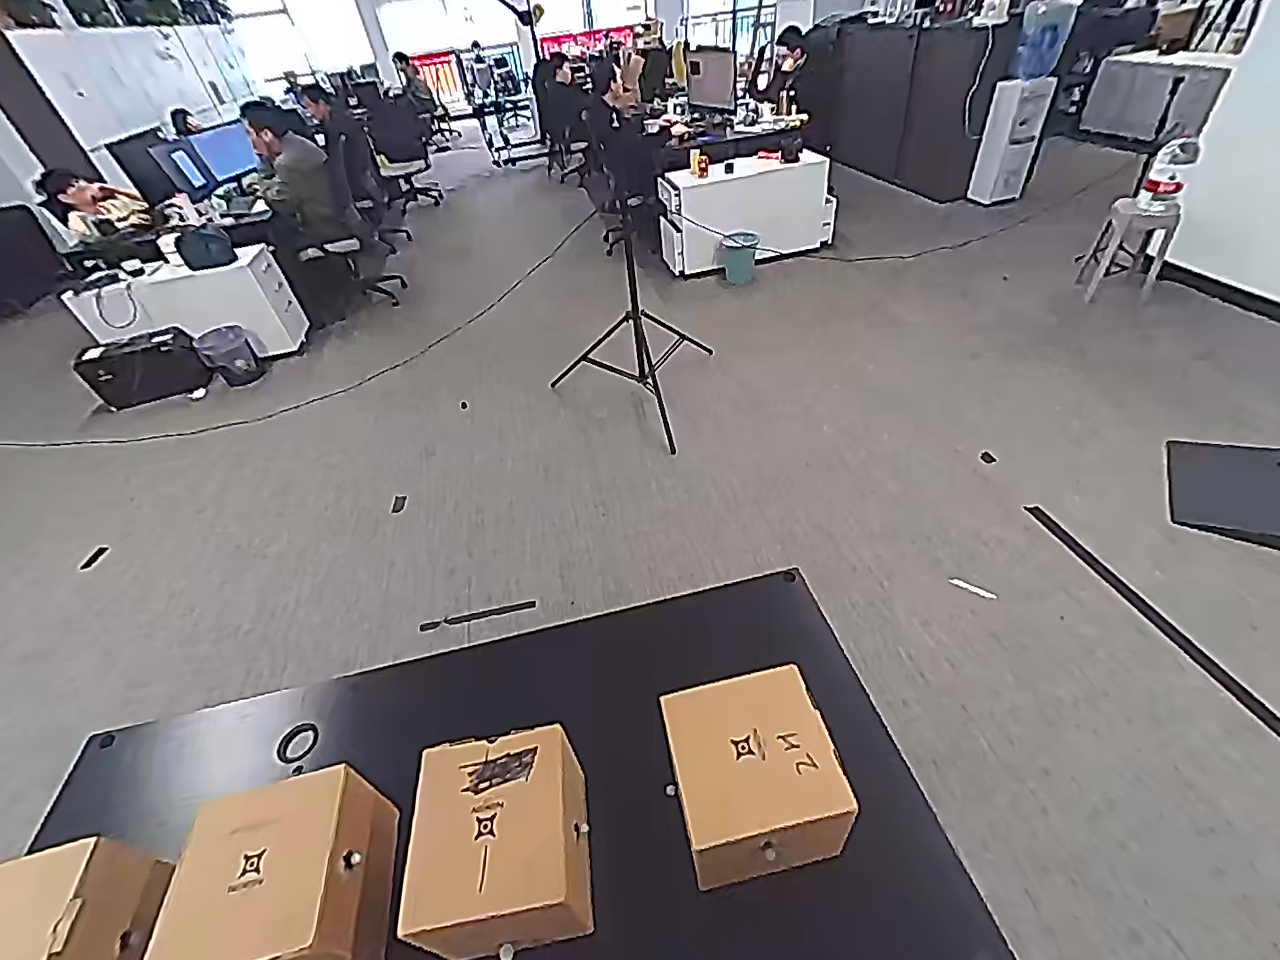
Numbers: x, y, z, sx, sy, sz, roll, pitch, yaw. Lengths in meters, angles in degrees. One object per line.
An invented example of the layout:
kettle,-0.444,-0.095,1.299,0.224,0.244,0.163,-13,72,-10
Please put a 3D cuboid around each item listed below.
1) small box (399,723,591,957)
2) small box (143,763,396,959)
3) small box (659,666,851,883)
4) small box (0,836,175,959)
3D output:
small box,-0.154,0.419,0.632,0.168,0.176,0.179,-10,42,-2
small box,-0.399,0.465,0.620,0.168,0.176,0.179,-12,41,-7
small box,0.129,0.358,0.657,0.179,0.176,0.168,-11,42,-4
small box,-0.653,0.525,0.587,0.179,0.176,0.168,-13,41,-8
